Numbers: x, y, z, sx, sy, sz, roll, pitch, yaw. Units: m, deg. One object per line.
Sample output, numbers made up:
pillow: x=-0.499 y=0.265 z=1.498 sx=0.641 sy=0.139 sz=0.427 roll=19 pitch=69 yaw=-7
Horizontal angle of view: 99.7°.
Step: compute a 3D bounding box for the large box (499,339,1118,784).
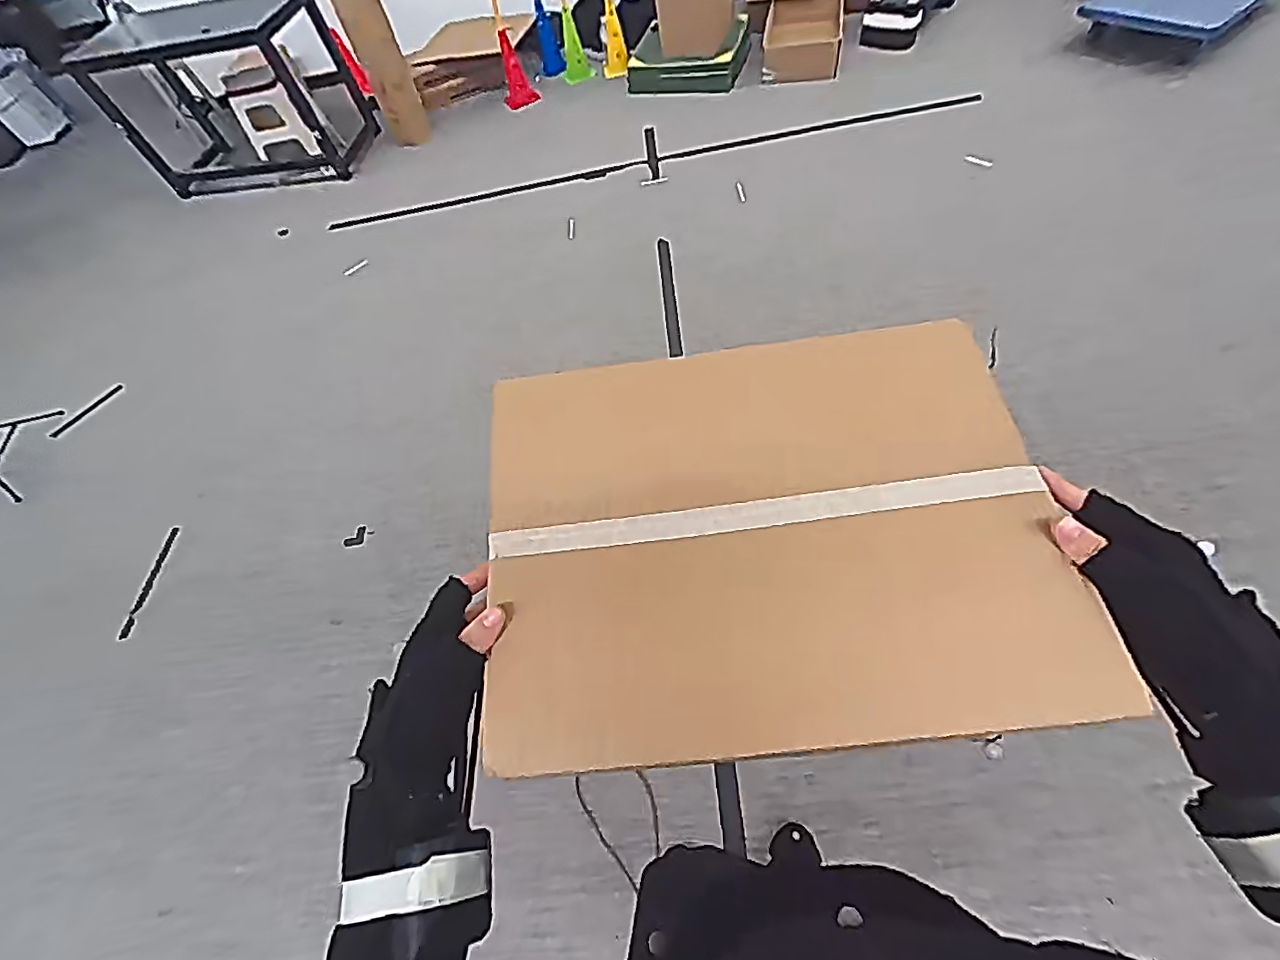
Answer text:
large box: x=0.106 y=0.102 z=0.543 sx=0.408 sy=0.320 sz=0.320 roll=-7 pitch=62 yaw=3
